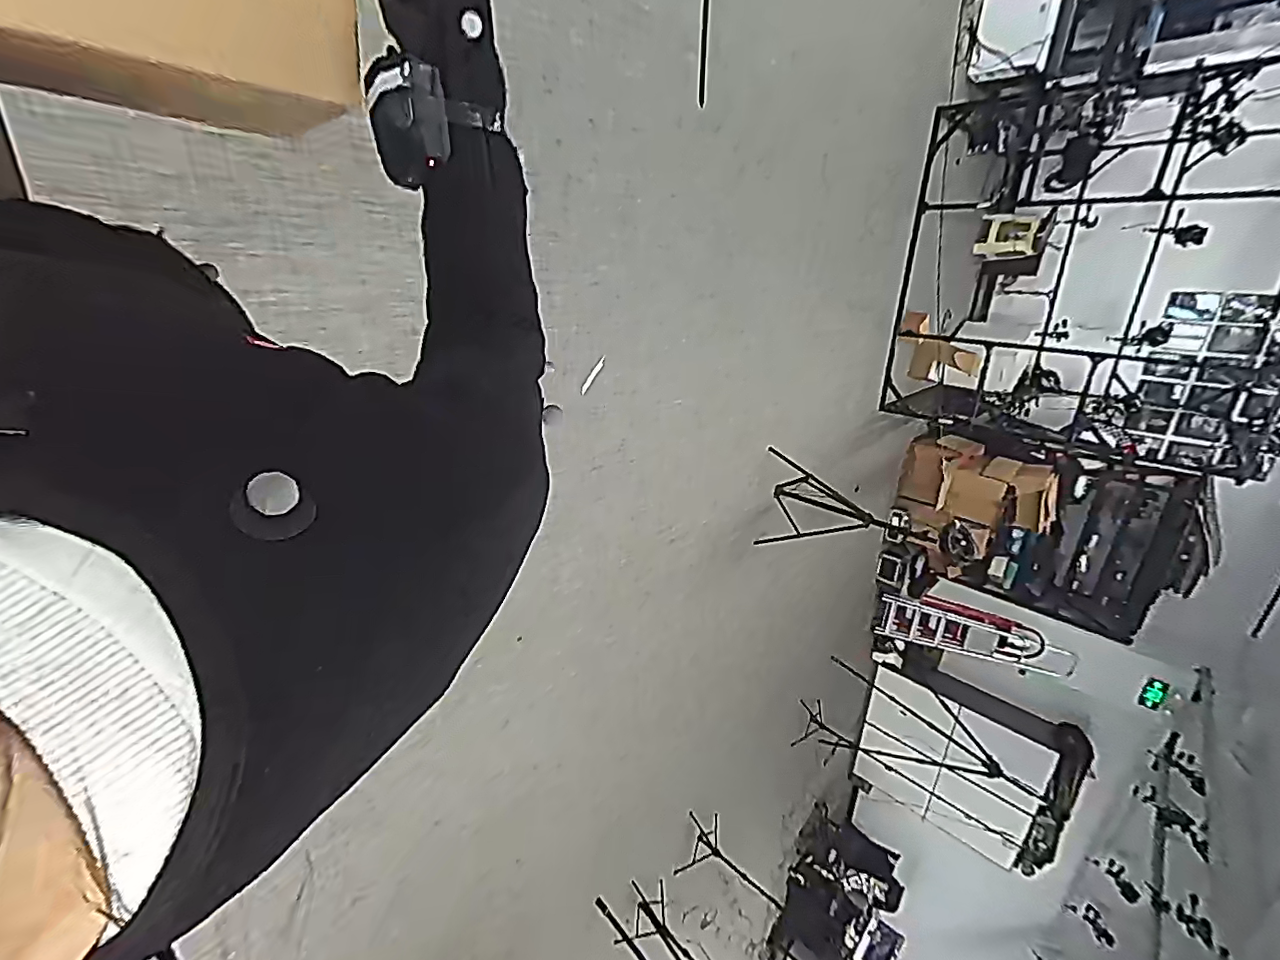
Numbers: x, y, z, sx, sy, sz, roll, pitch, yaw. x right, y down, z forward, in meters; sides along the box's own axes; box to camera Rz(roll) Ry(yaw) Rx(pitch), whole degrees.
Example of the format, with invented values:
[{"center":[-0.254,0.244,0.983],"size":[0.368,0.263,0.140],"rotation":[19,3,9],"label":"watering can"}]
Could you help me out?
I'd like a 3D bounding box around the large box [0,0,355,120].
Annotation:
[{"center":[-0.422,-0.426,0.289],"size":[0.408,0.320,0.320],"rotation":[-11,120,-37],"label":"large box"}]
